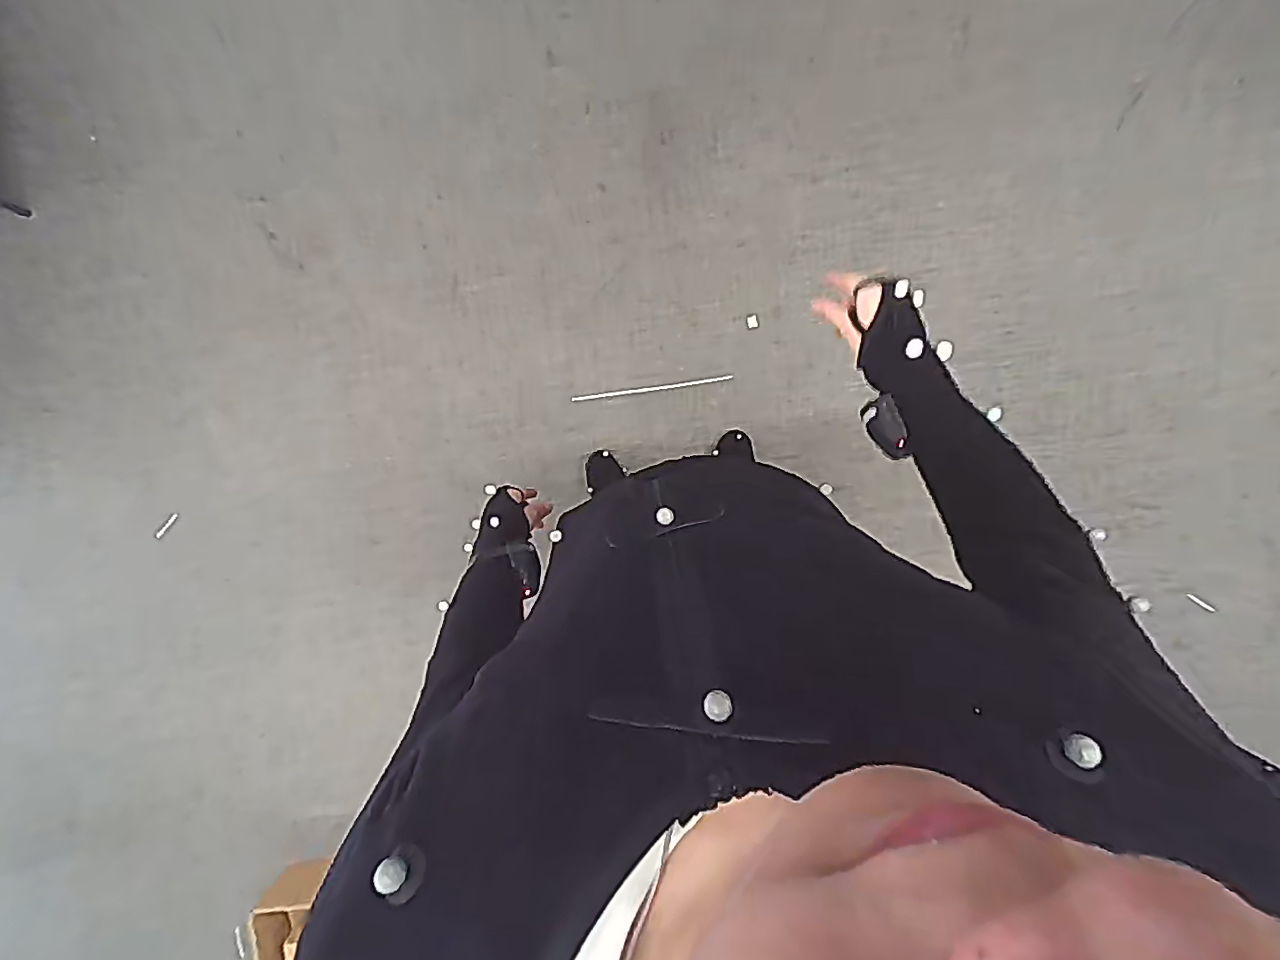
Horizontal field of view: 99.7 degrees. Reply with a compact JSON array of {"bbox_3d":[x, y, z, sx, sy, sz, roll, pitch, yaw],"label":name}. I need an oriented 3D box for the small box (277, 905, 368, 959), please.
[{"bbox_3d":[-0.933,1.410,1.610,0.179,0.176,0.168,-5,94,1],"label":"small box"}]
